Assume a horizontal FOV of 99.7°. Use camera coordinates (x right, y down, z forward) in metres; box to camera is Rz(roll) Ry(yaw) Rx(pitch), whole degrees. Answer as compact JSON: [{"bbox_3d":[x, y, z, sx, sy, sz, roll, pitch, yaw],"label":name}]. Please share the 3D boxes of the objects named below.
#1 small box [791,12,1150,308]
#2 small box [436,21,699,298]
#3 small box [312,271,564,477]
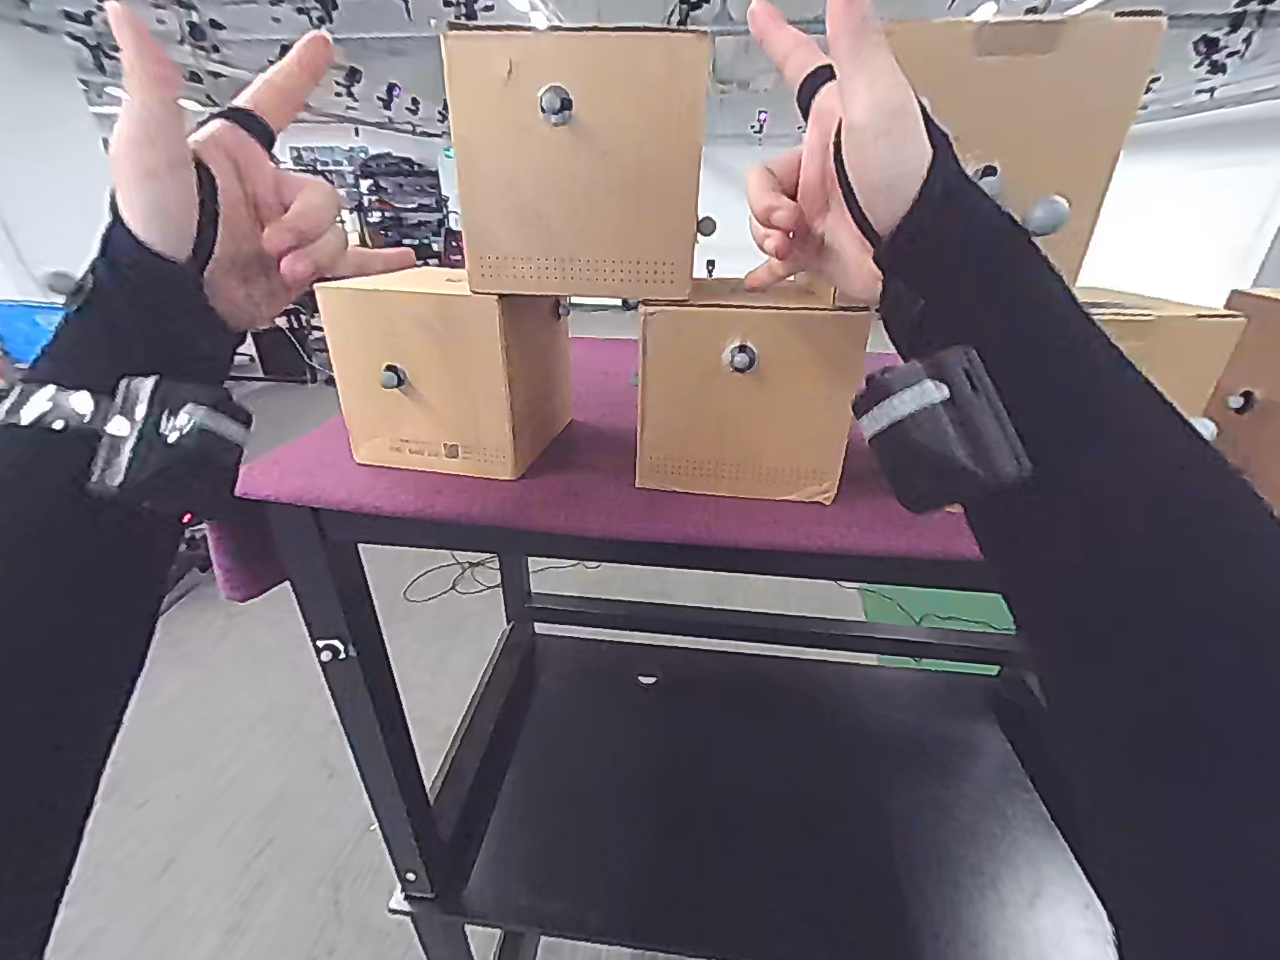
[{"bbox_3d":[0.223,-0.234,0.427,0.168,0.176,0.179,2,27,4],"label":"small box"},{"bbox_3d":[-0.042,-0.249,0.452,0.179,0.176,0.168,4,27,4],"label":"small box"},{"bbox_3d":[-0.179,-0.113,0.544,0.168,0.176,0.179,5,26,9],"label":"small box"}]
